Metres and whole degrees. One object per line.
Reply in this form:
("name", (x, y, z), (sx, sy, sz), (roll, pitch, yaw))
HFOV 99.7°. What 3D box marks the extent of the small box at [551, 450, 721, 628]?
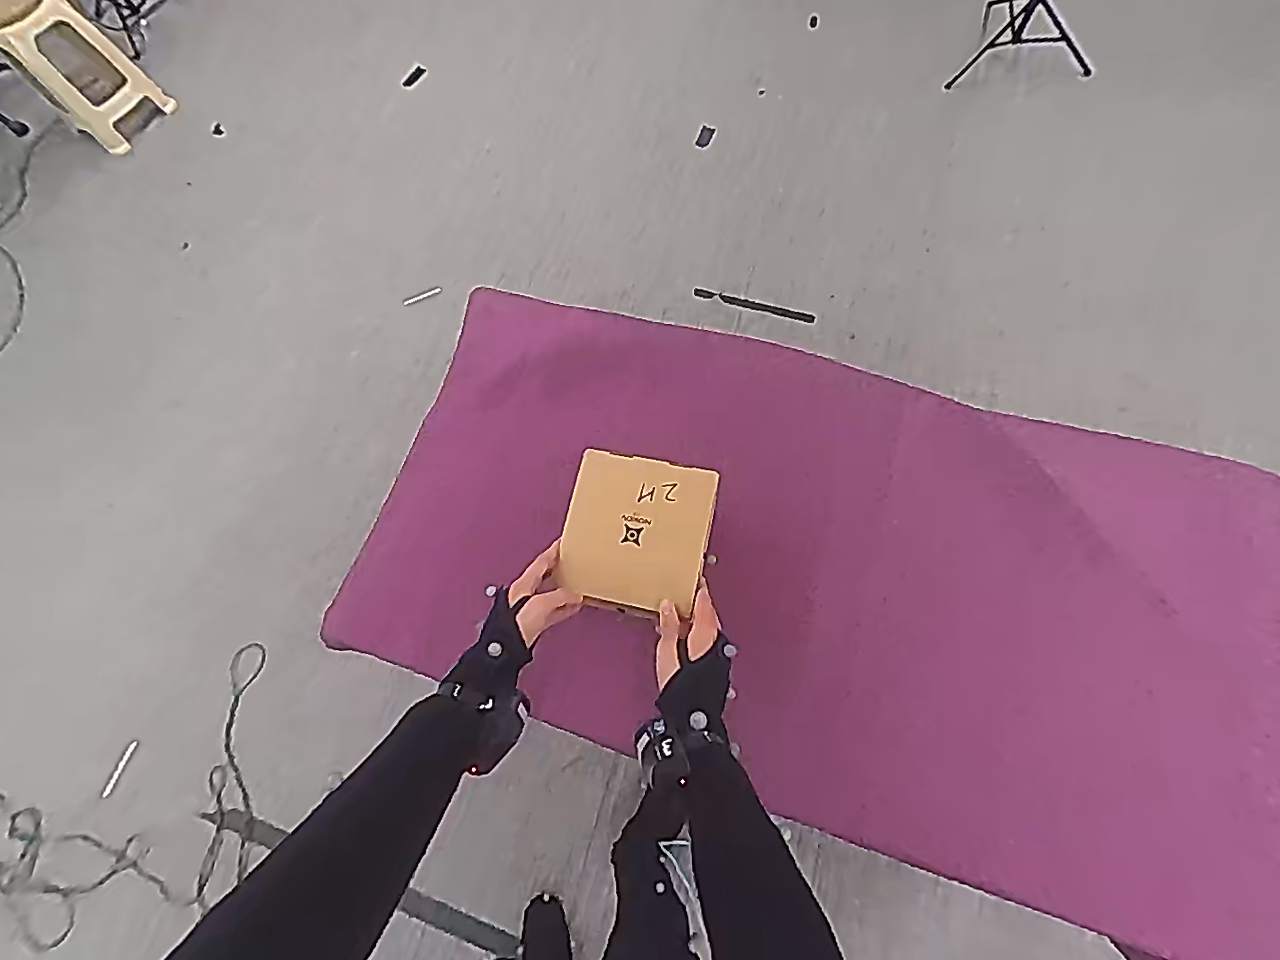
("small box", (0.005, 0.085, 0.694), (0.168, 0.176, 0.179), (12, 73, 9))
